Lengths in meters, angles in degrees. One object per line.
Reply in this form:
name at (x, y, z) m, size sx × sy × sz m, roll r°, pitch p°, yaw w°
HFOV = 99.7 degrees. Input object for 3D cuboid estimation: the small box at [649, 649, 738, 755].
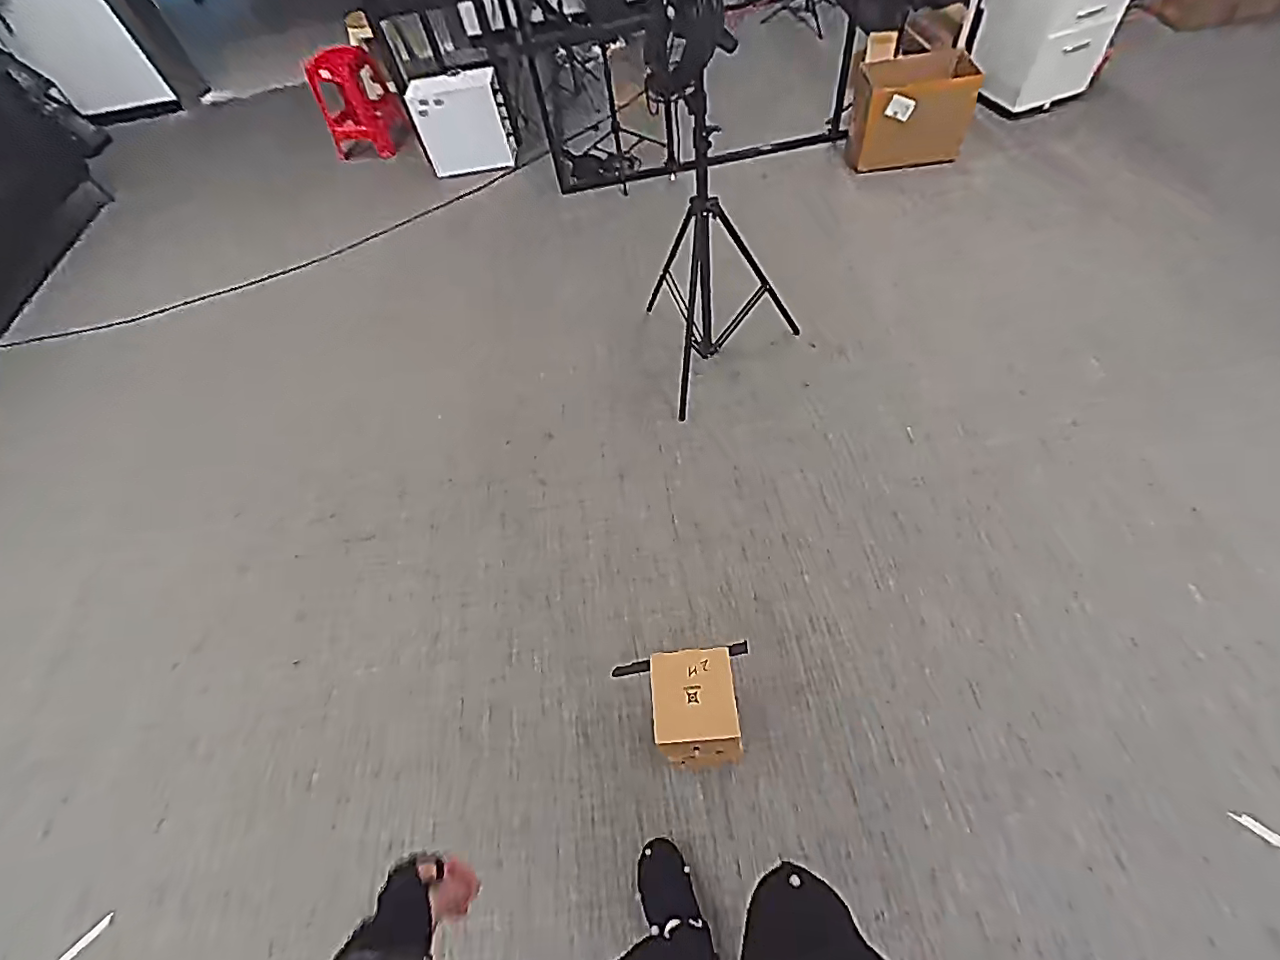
small box at (0.114, 0.472, 1.135) m, size 0.168 × 0.176 × 0.179 m, roll -7°, pitch 55°, yaw 4°
